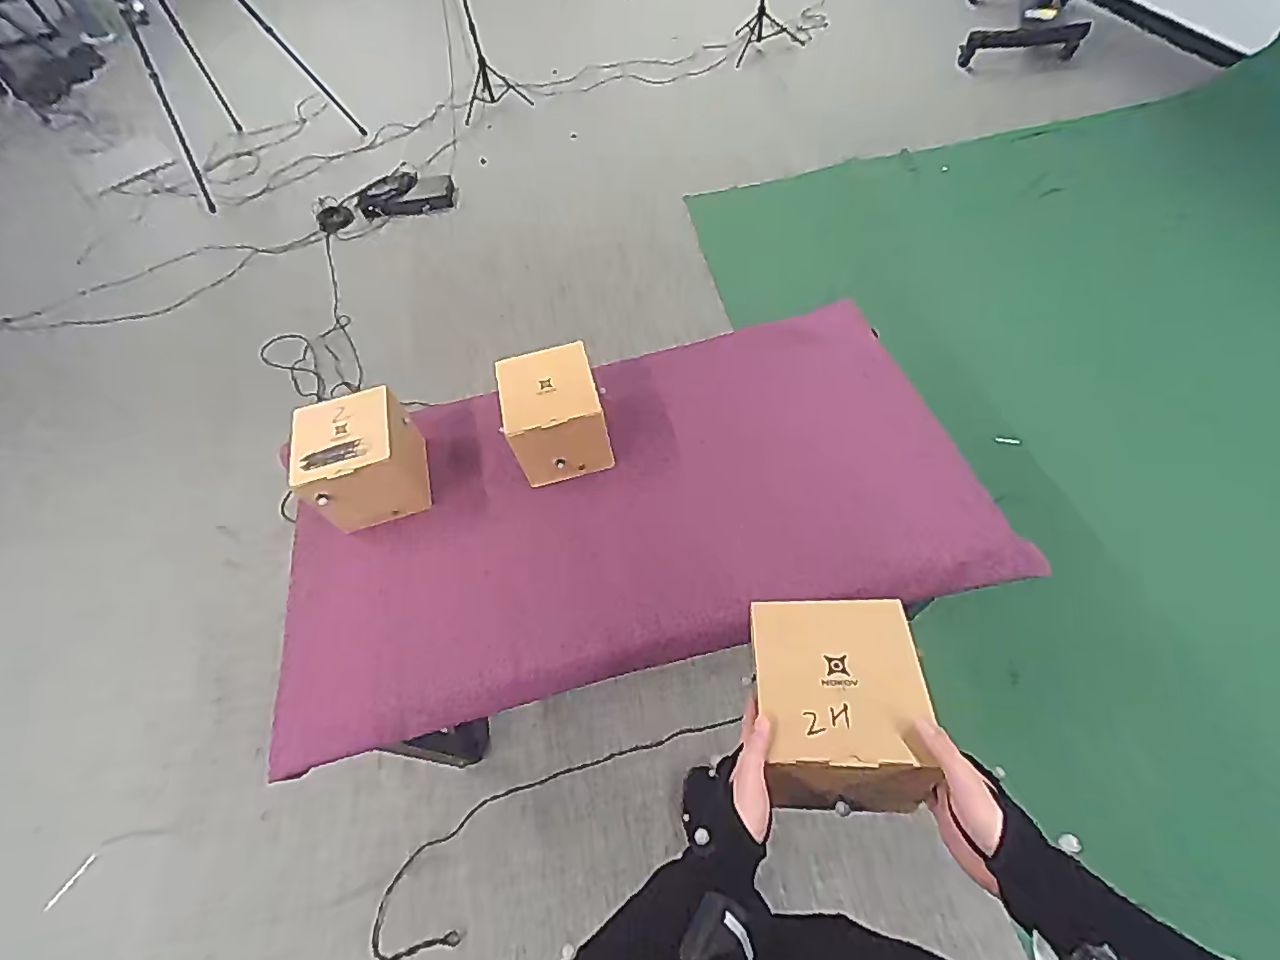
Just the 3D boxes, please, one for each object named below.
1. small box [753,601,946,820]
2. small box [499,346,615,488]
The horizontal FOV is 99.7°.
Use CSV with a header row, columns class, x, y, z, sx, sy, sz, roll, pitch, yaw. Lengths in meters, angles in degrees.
class,x,y,z,sx,sy,sz,roll,pitch,yaw
small box,0.214,0.255,0.606,0.168,0.176,0.179,-4,45,11
small box,-0.149,-0.112,0.998,0.168,0.176,0.179,-15,59,-3
